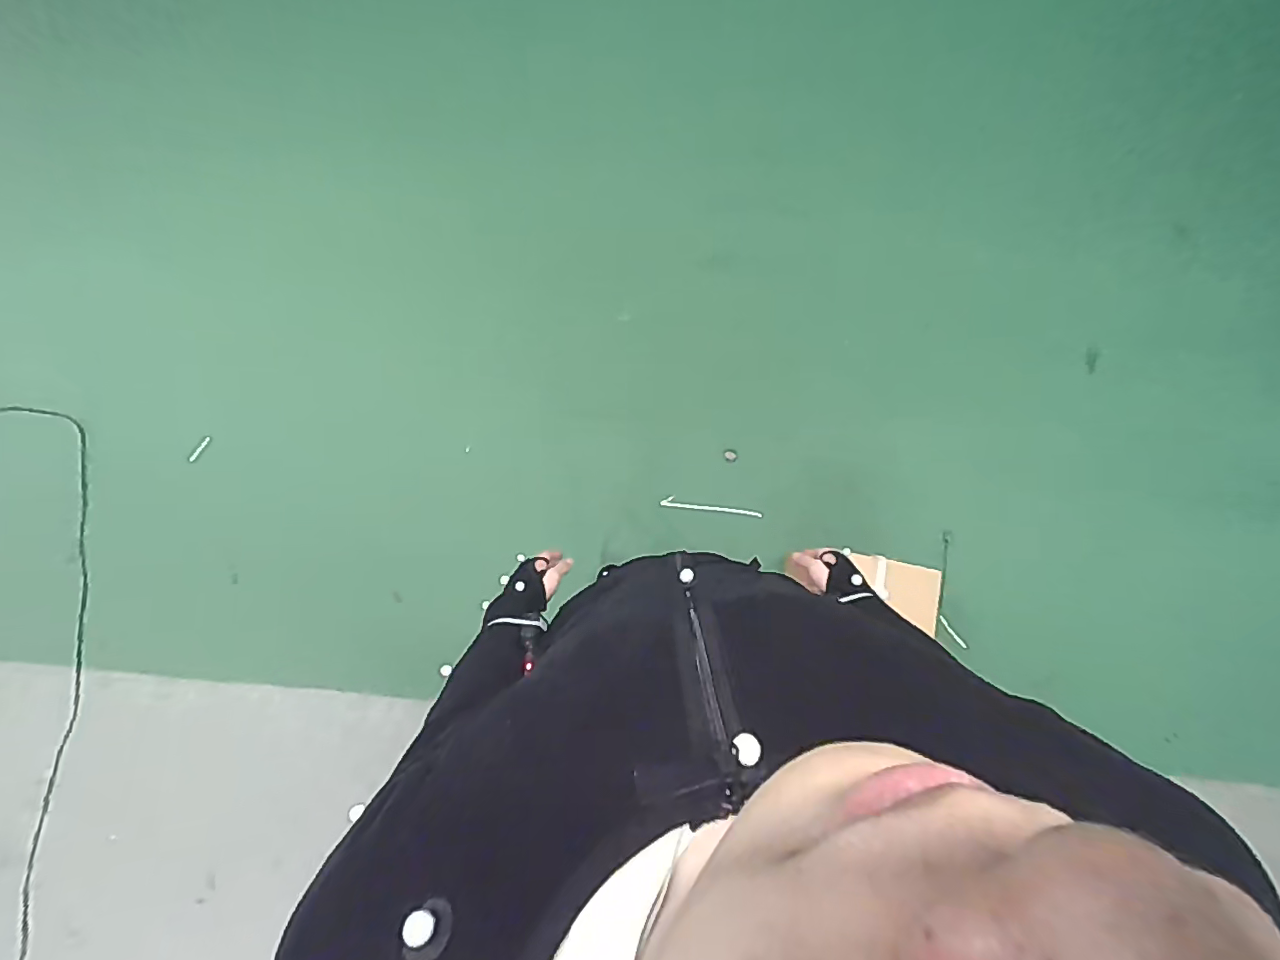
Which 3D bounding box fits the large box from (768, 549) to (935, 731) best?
[{"bbox_3d":[0.566,0.415,1.494,0.320,0.320,0.408,11,81,1],"label":"large box"}]
